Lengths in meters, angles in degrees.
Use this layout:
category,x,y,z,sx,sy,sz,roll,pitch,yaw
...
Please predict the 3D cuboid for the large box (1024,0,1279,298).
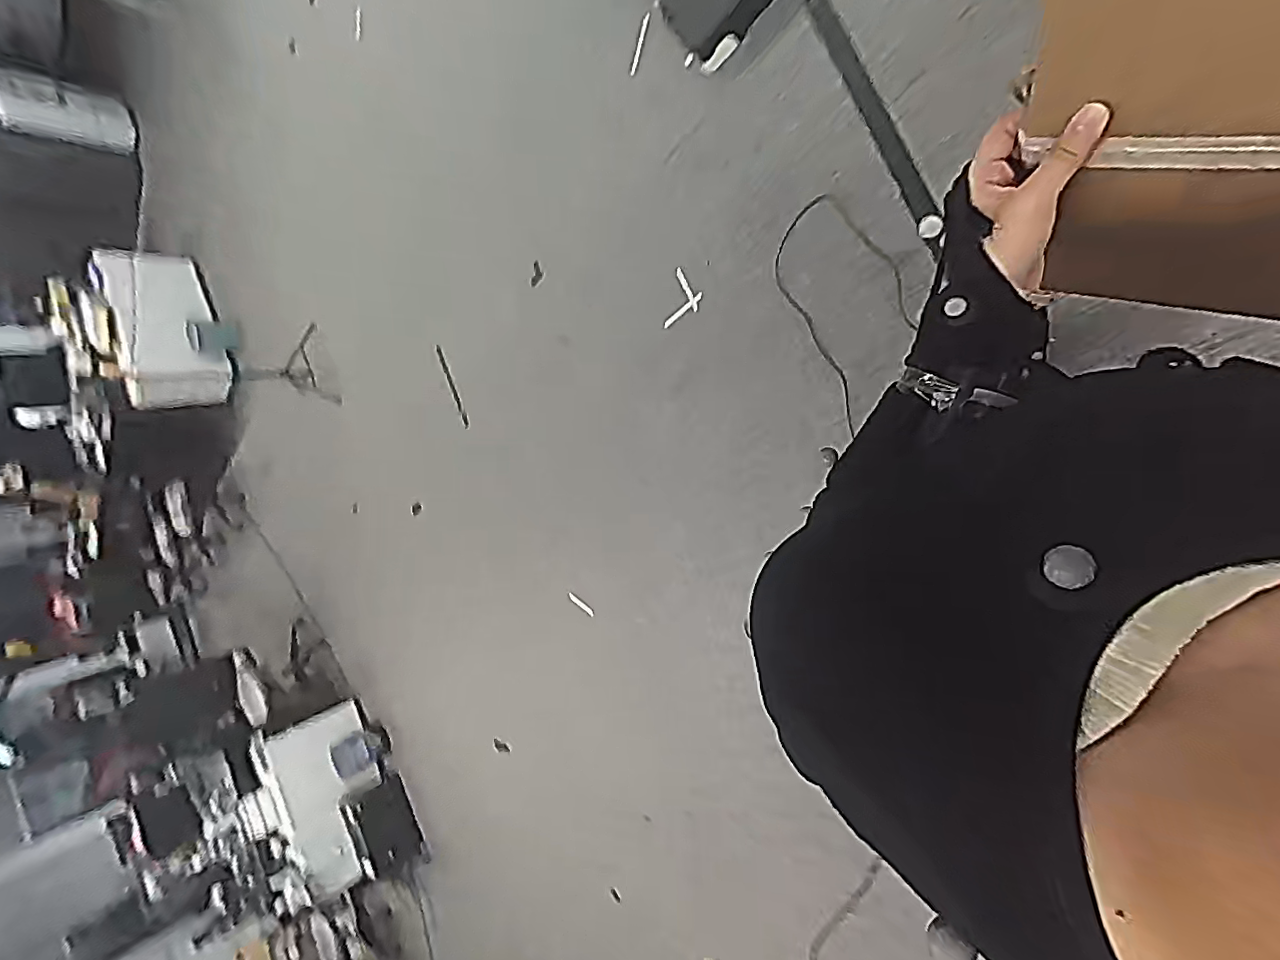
category,x,y,z,sx,sy,sz,roll,pitch,yaw
large box,0.433,-0.279,0.202,0.408,0.320,0.320,23,88,36
